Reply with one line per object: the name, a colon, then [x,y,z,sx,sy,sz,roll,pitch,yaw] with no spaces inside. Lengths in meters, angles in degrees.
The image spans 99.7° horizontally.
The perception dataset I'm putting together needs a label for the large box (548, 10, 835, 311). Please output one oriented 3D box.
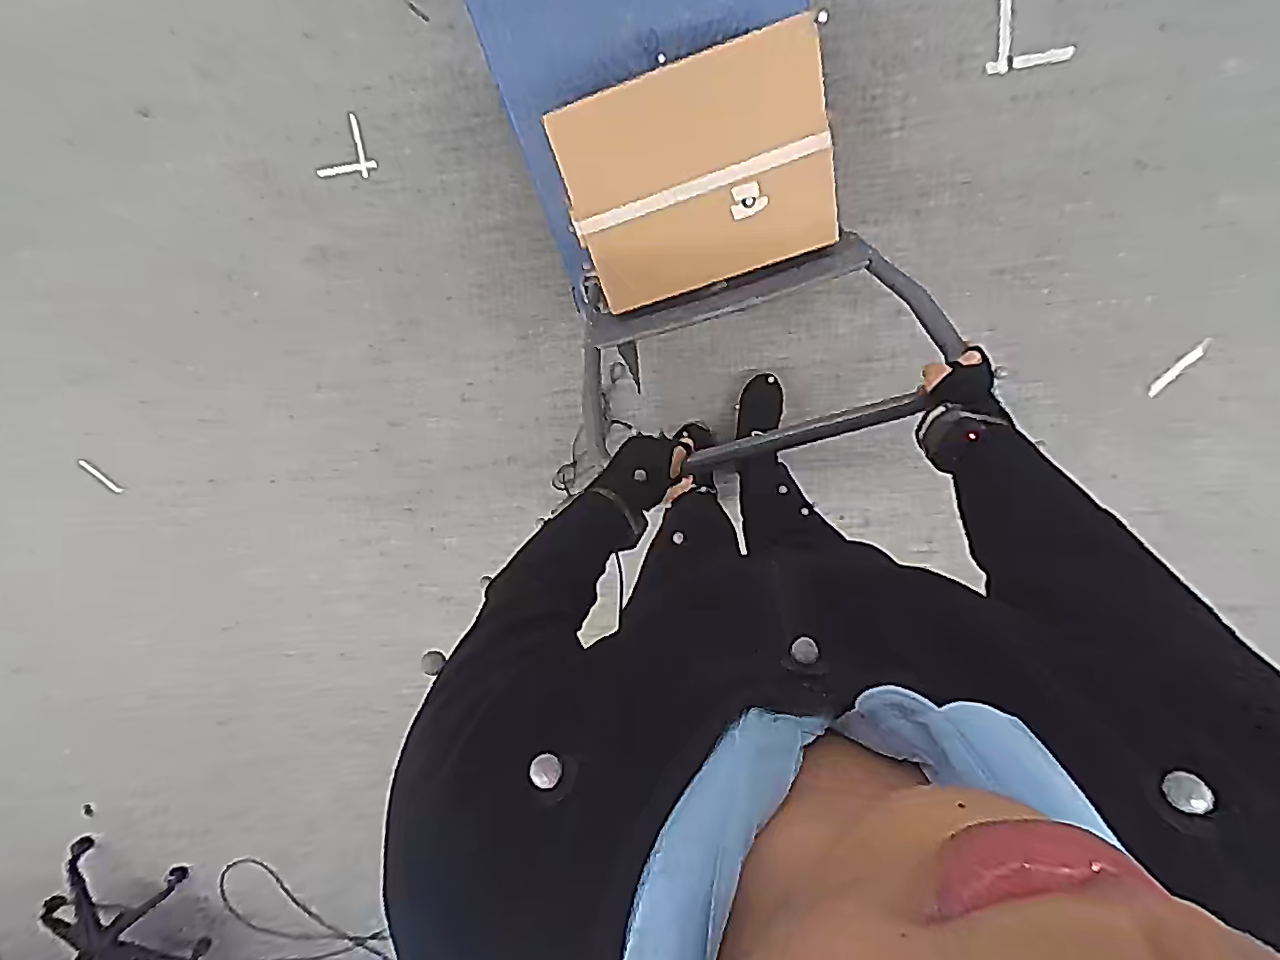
large box: [0.087,-0.559,0.976,0.408,0.320,0.320,-16,126,8]
